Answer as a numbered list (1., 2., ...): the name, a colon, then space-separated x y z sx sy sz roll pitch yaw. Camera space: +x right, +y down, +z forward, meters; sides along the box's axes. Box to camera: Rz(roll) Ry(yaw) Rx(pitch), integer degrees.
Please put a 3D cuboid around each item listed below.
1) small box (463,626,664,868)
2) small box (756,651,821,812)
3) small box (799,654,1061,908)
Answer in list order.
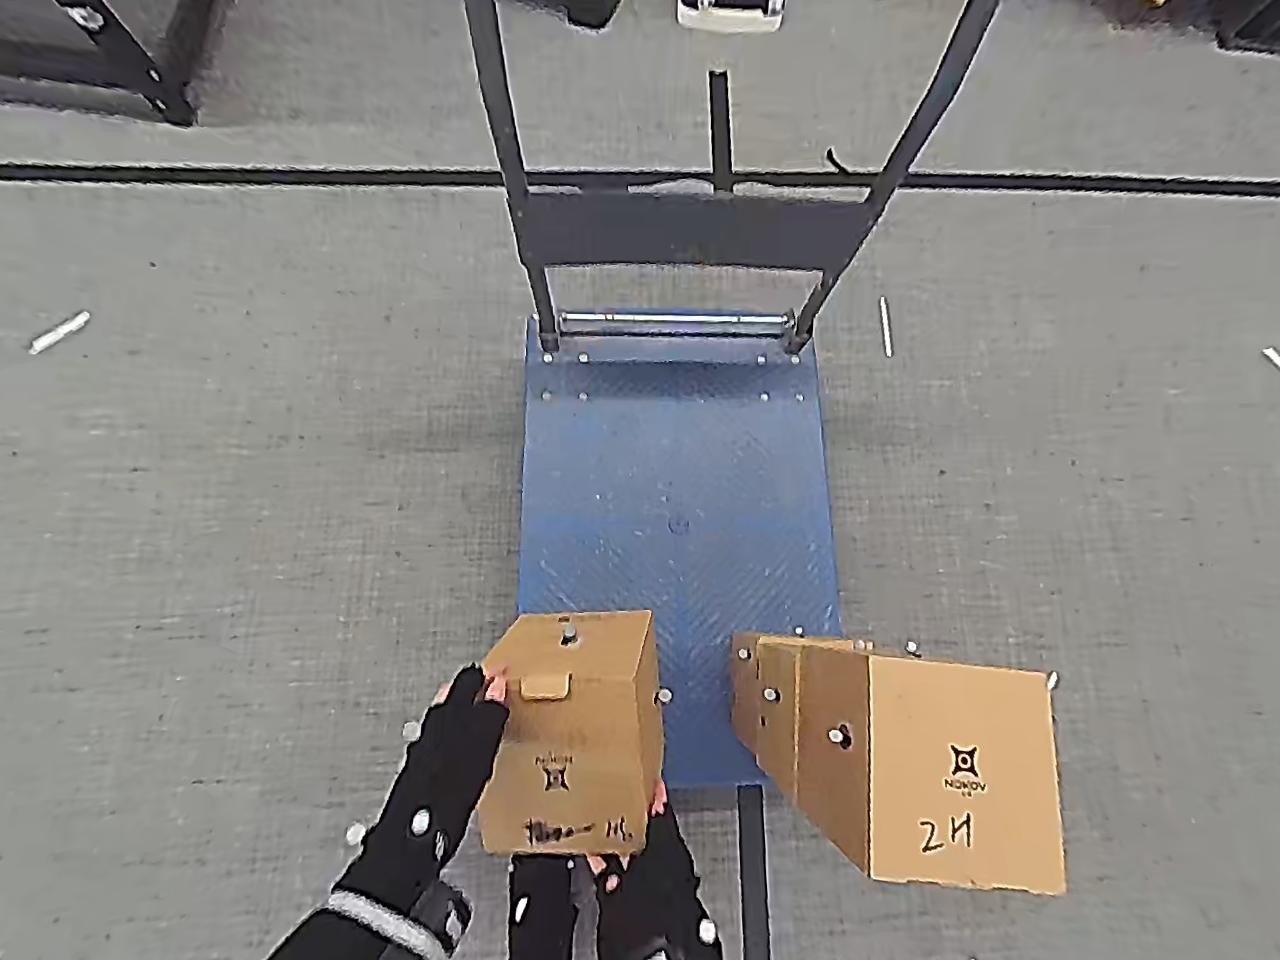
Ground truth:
1. small box: -0.066 0.264 0.573 0.168 0.176 0.179 -4 98 8
2. small box: 0.255 0.315 0.693 0.179 0.176 0.168 6 76 -3
3. small box: 0.265 0.274 0.534 0.168 0.176 0.179 7 76 -2
